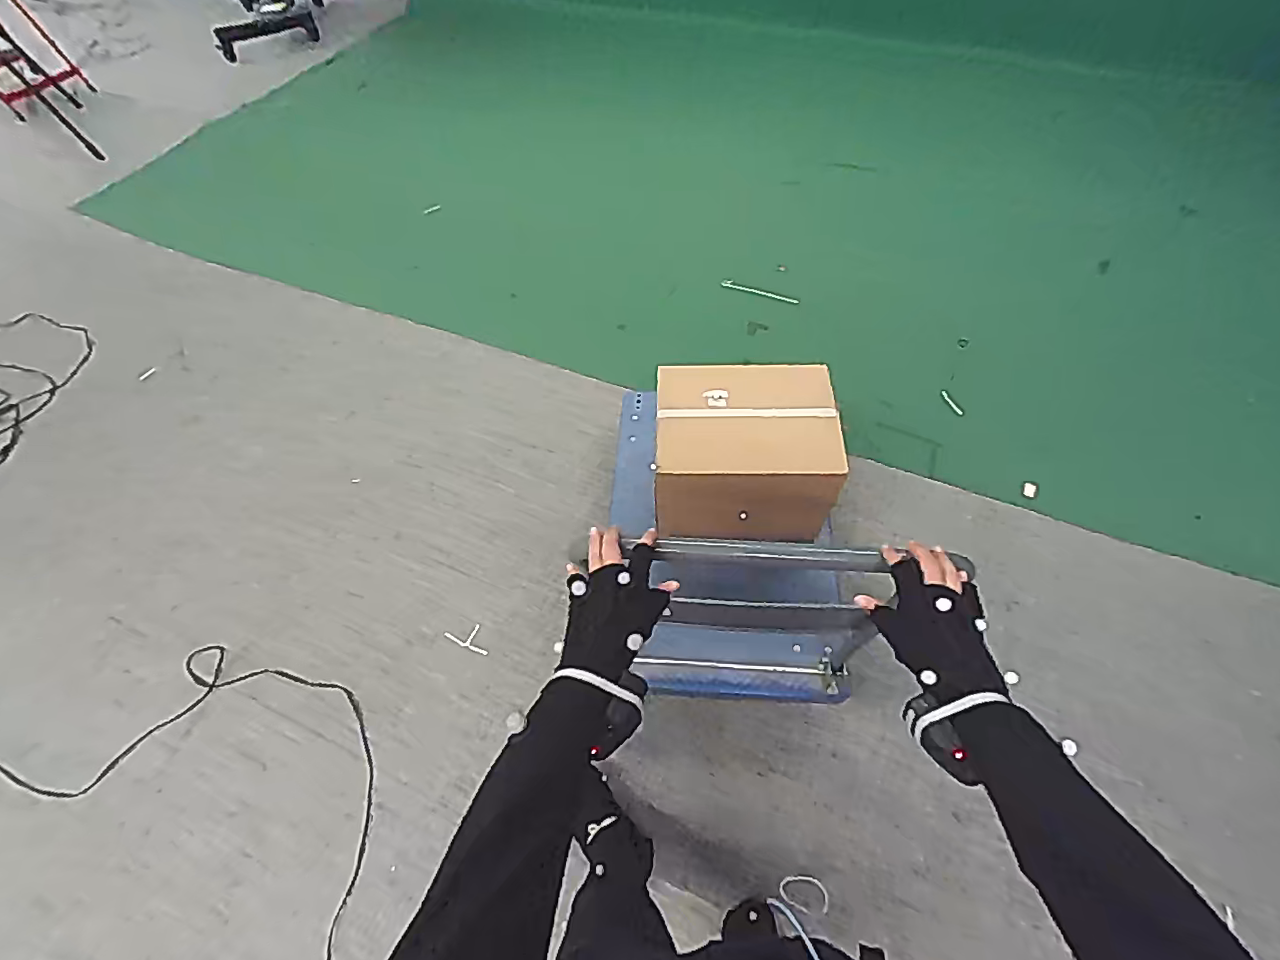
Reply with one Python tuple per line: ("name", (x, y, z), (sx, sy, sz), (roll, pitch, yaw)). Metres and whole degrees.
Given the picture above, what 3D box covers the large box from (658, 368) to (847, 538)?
("large box", (0.251, -0.057, 1.351), (0.408, 0.320, 0.320), (0, 57, 4))
